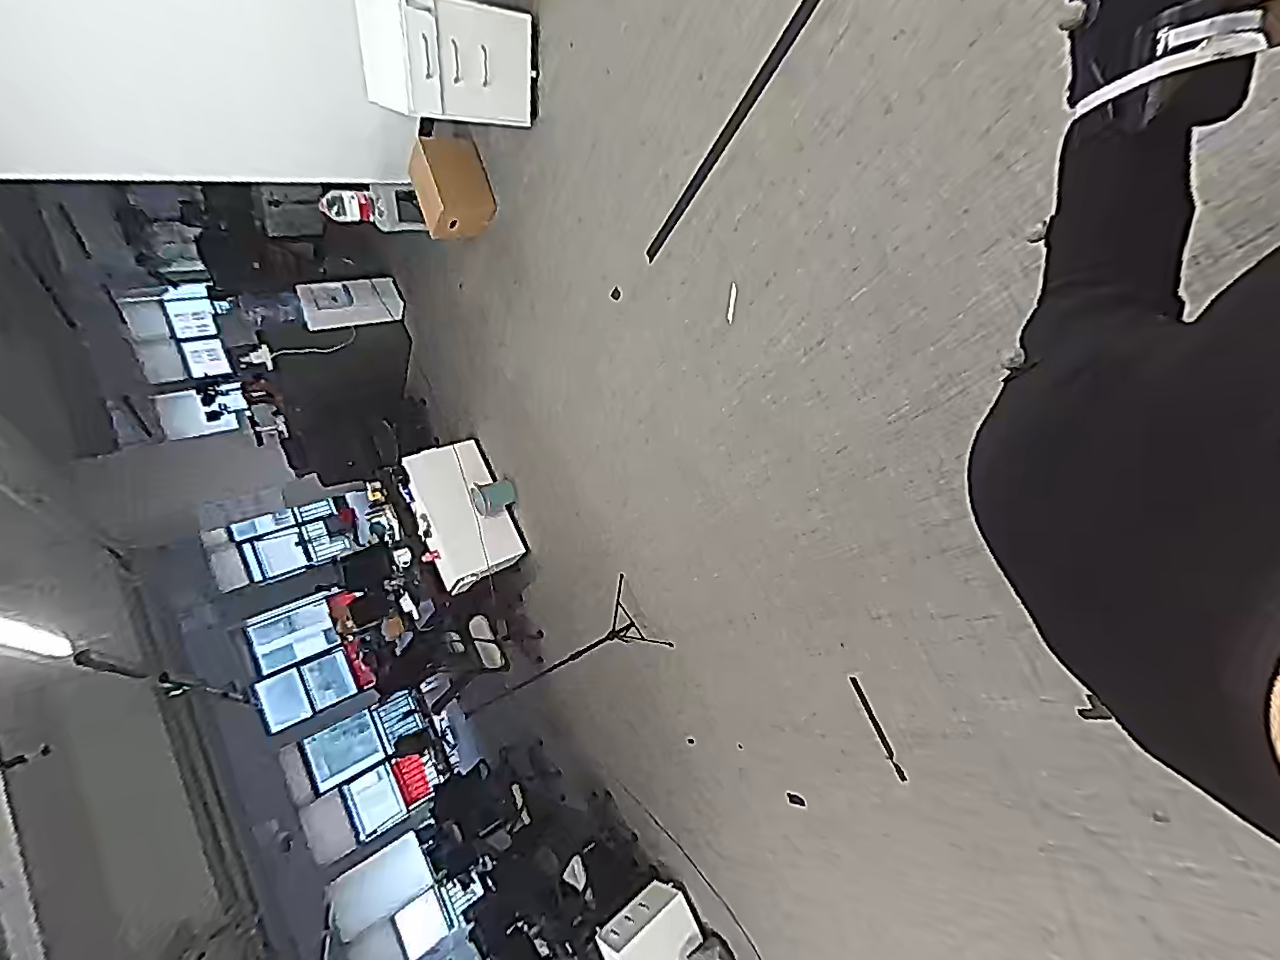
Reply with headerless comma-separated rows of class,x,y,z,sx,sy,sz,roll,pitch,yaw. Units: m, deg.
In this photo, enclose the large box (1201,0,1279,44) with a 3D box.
large box,0.557,-0.479,0.237,0.408,0.320,0.320,11,120,49
